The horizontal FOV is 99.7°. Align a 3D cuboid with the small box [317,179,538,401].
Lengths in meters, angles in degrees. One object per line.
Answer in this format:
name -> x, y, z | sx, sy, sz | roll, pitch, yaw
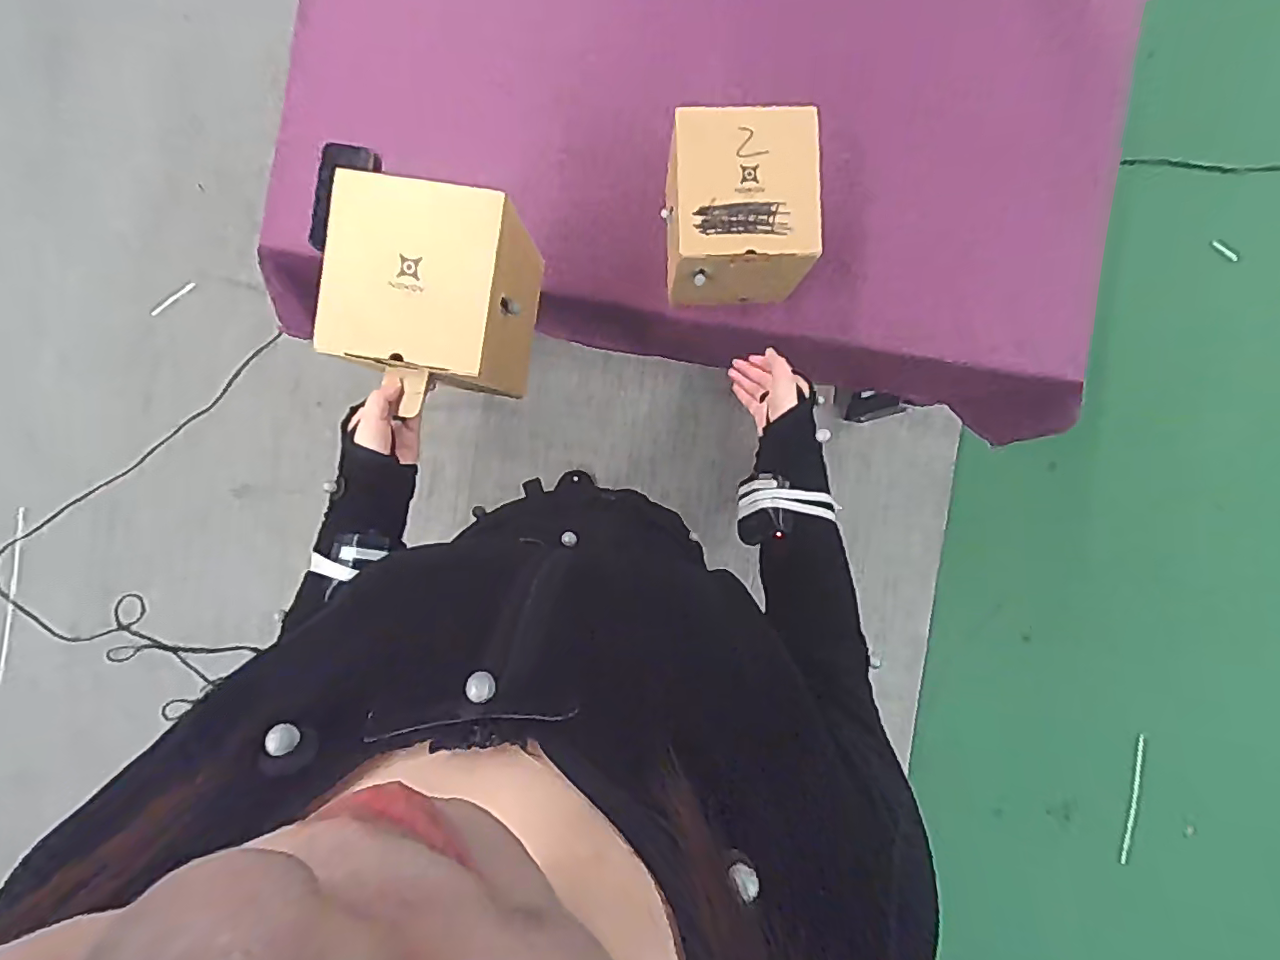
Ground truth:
small box -> -0.218, -0.194, 0.600 | 0.168, 0.176, 0.179 | 9, 93, 2
